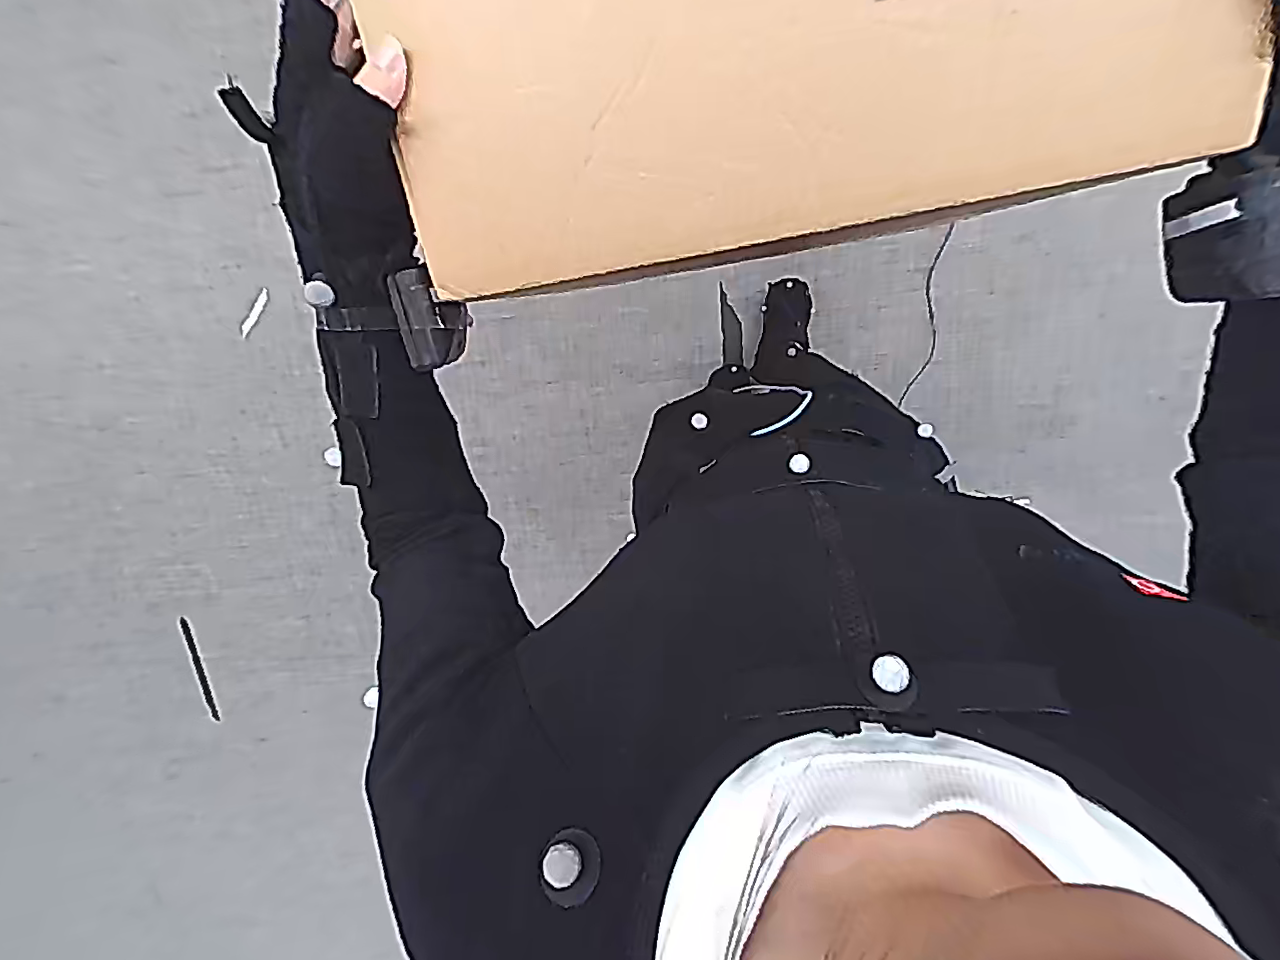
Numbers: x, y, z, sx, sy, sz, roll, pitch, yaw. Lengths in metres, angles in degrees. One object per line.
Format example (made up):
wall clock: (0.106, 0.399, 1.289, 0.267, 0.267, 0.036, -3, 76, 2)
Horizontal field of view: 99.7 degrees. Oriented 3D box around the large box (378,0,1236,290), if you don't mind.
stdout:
large box: (0.070, -0.333, 0.383, 0.408, 0.320, 0.320, -8, 109, 8)
